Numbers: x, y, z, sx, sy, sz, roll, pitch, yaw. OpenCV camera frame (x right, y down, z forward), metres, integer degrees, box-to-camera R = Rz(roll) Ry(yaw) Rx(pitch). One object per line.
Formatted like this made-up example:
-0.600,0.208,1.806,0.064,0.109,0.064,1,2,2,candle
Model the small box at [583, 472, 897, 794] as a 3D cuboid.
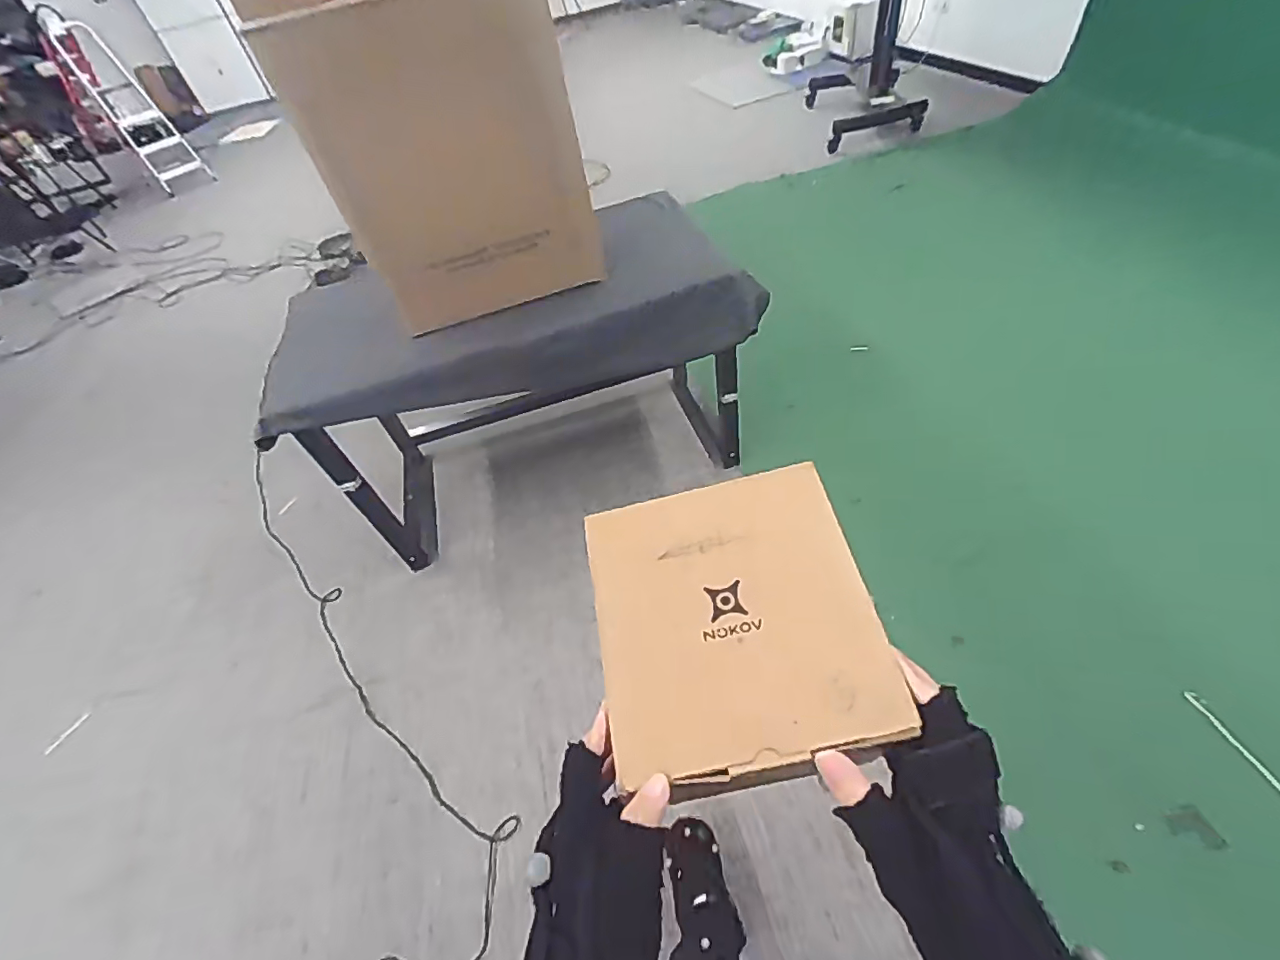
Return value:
0.065,0.125,0.408,0.168,0.176,0.179,-14,55,4,small box
